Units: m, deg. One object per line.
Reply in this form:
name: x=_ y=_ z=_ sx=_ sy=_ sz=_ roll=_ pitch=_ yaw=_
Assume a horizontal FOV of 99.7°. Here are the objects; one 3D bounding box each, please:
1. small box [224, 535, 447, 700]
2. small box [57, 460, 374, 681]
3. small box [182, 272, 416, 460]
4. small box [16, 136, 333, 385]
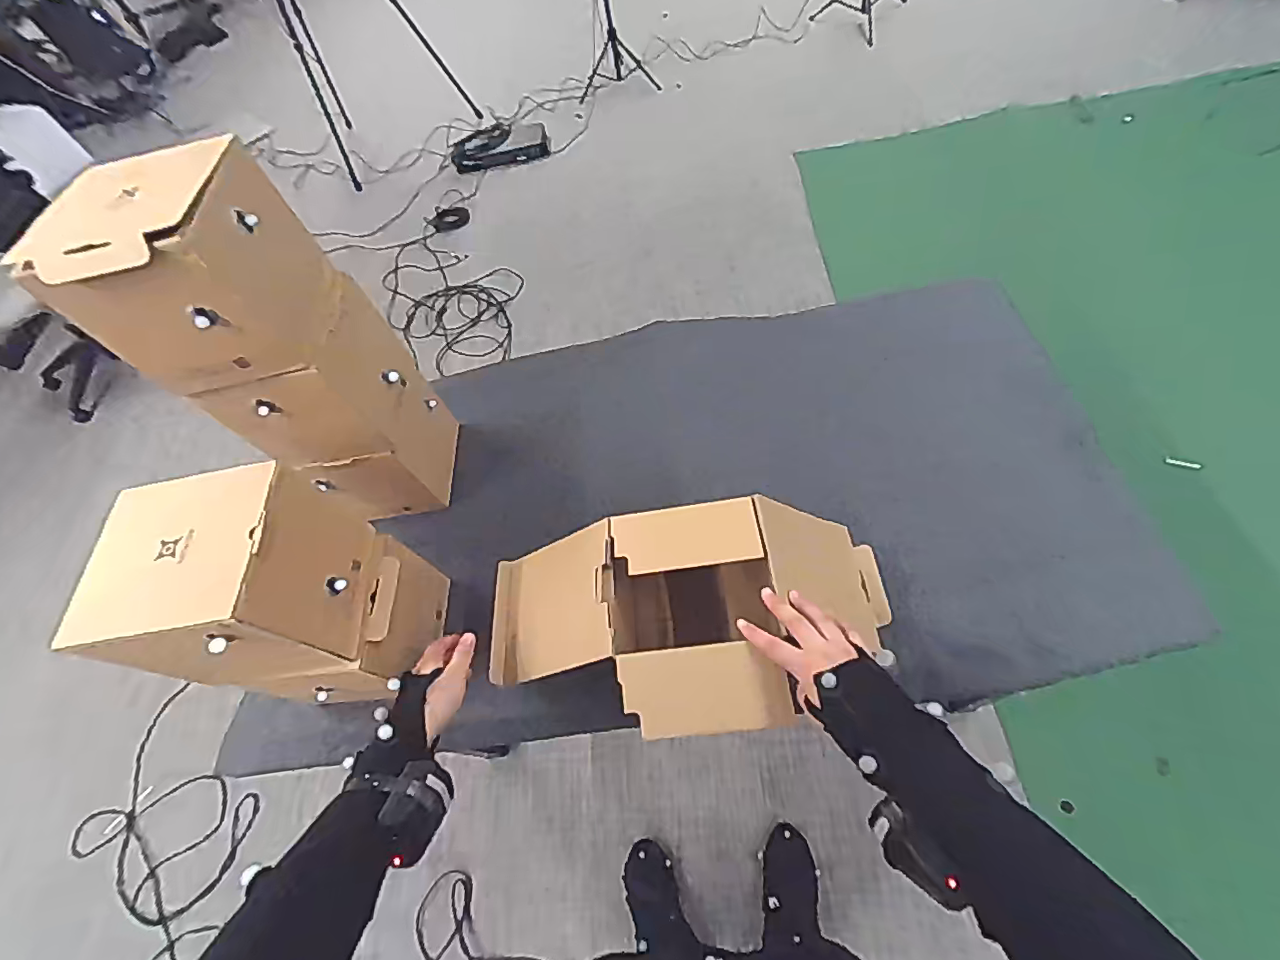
small box: x=-0.376 y=0.186 z=0.706 sx=0.179 sy=0.176 sz=0.168 roll=-7 pitch=59 yaw=7
small box: x=-0.418 y=0.105 z=0.571 sx=0.179 sy=0.176 sz=0.168 roll=-11 pitch=59 yaw=4
small box: x=-0.429 y=-0.140 z=0.714 sx=0.179 sy=0.176 sz=0.168 roll=-8 pitch=60 yaw=6
small box: x=-0.462 y=-0.220 z=0.576 sx=0.168 sy=0.176 sz=0.179 roll=-11 pitch=58 yaw=3
